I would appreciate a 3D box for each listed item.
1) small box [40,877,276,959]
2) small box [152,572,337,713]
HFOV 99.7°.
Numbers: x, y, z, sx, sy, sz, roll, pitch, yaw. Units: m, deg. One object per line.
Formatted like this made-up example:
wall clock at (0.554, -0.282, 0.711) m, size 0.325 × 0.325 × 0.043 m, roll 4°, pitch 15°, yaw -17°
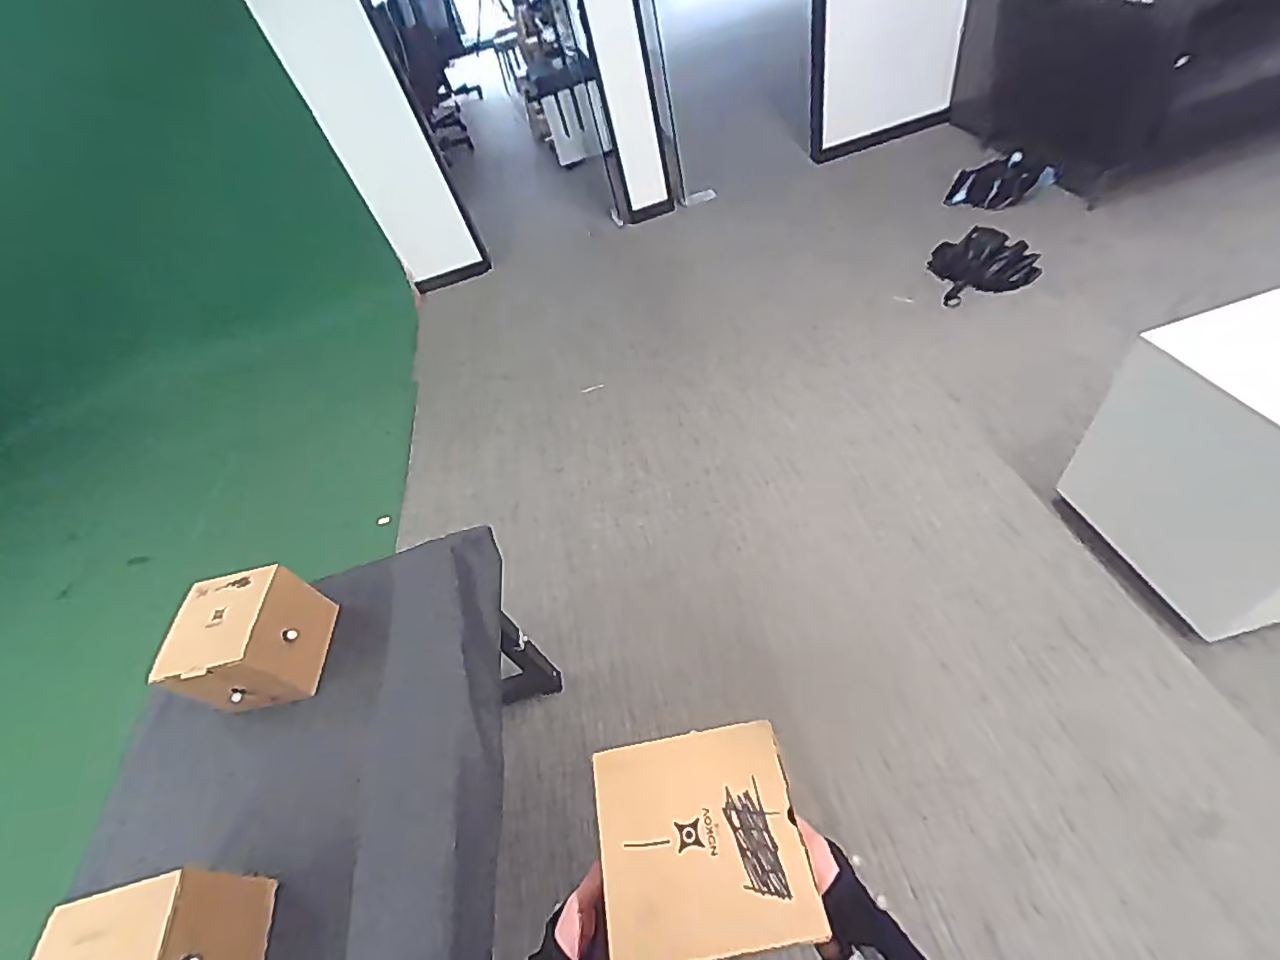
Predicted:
small box at (-0.580, 0.606, 0.646) m, size 0.168 × 0.176 × 0.179 m, roll -17°, pitch 47°, yaw 0°
small box at (-0.662, 0.287, 0.934) m, size 0.168 × 0.176 × 0.179 m, roll -13°, pitch 49°, yaw 5°
